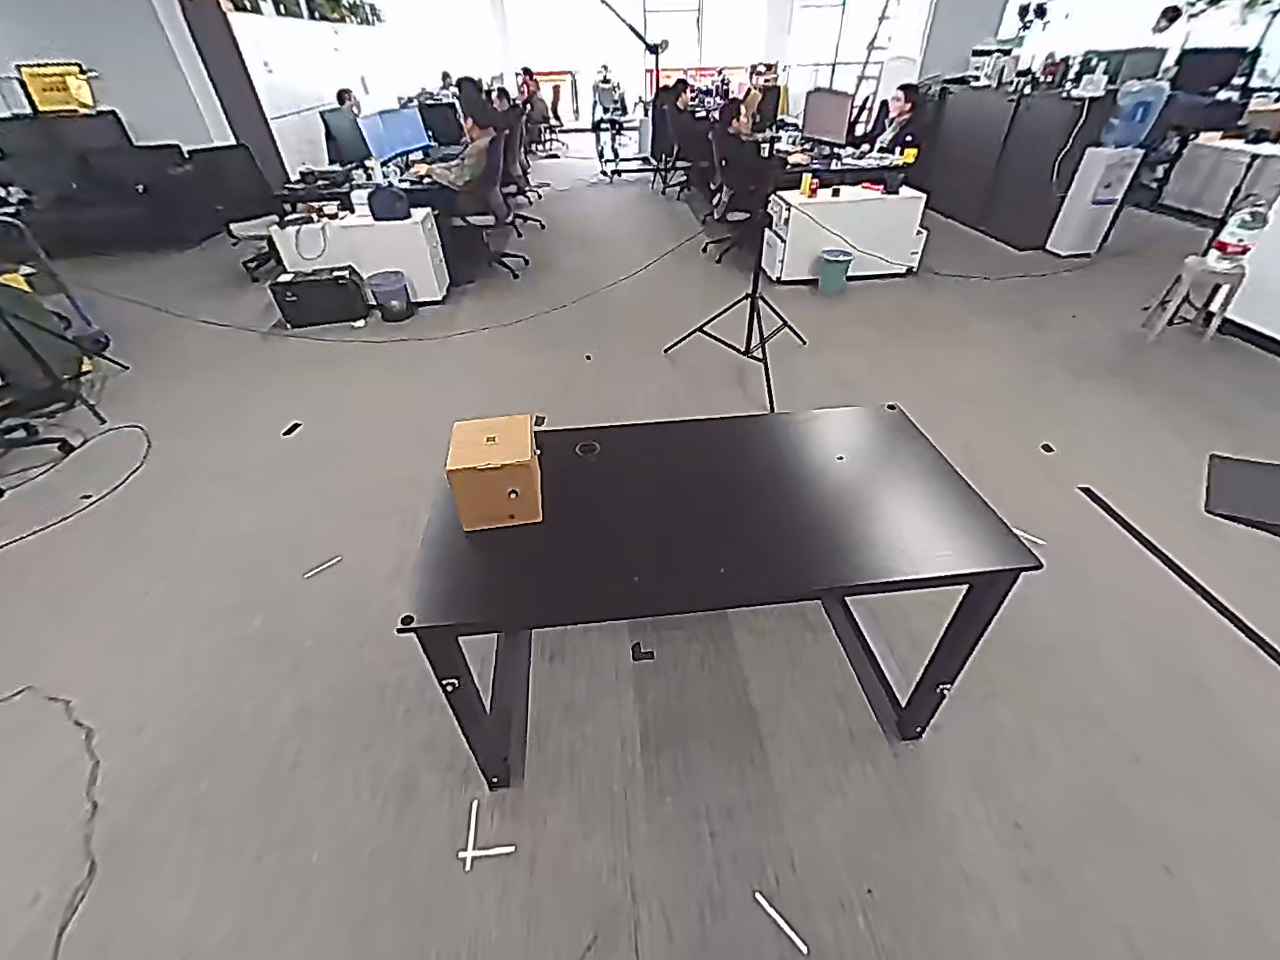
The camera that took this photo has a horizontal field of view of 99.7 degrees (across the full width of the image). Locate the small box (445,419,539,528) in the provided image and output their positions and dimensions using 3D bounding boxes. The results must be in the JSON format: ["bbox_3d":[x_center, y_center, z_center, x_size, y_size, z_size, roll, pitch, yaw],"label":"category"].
[{"bbox_3d":[-0.311,-0.010,1.172,0.168,0.176,0.179,-6,38,-8],"label":"small box"}]
